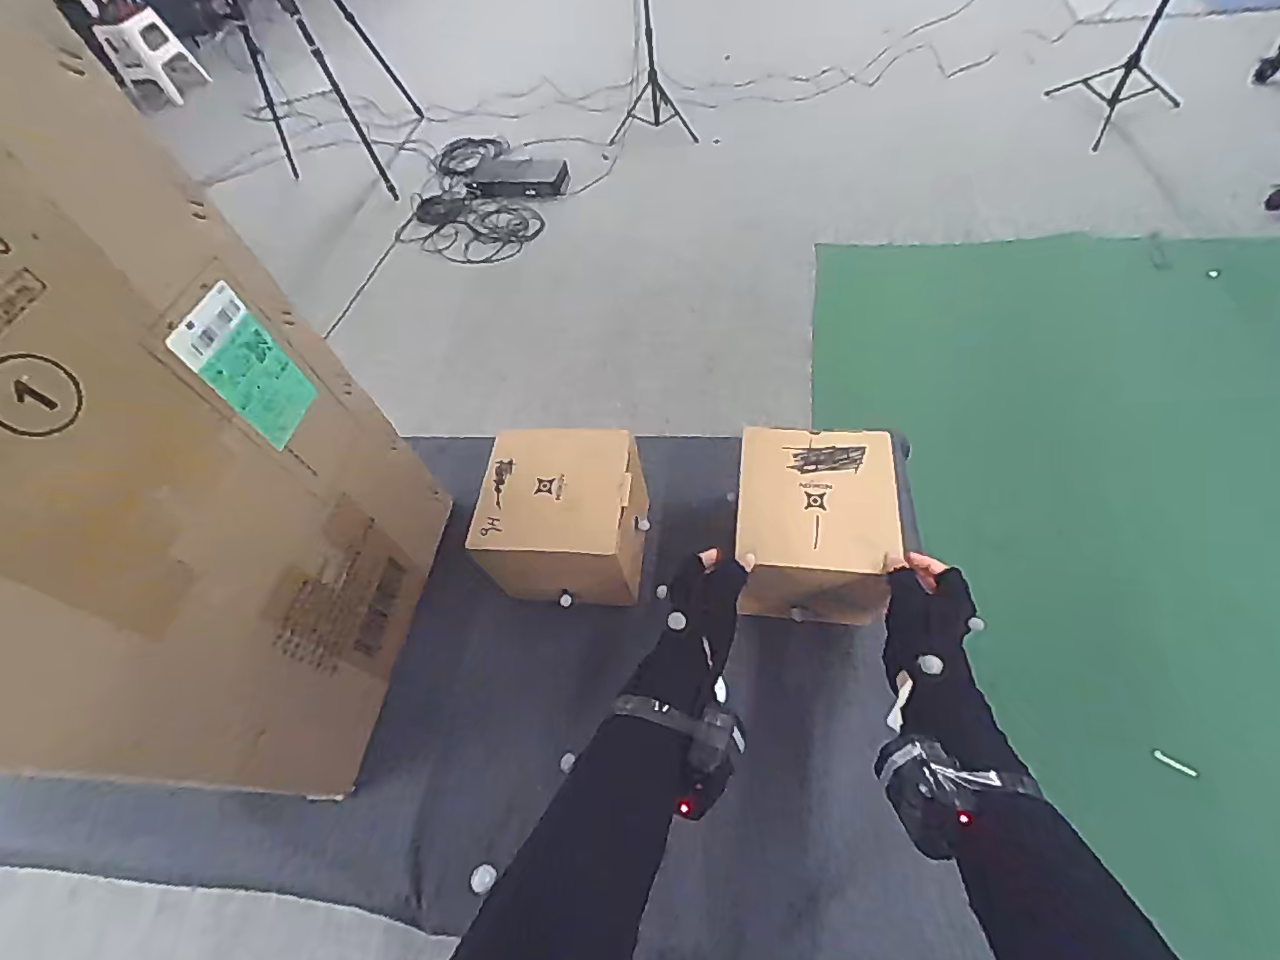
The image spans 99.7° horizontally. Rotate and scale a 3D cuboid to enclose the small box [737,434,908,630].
[{"bbox_3d":[0.206,0.065,0.654,0.168,0.176,0.179,3,59,11],"label":"small box"}]
